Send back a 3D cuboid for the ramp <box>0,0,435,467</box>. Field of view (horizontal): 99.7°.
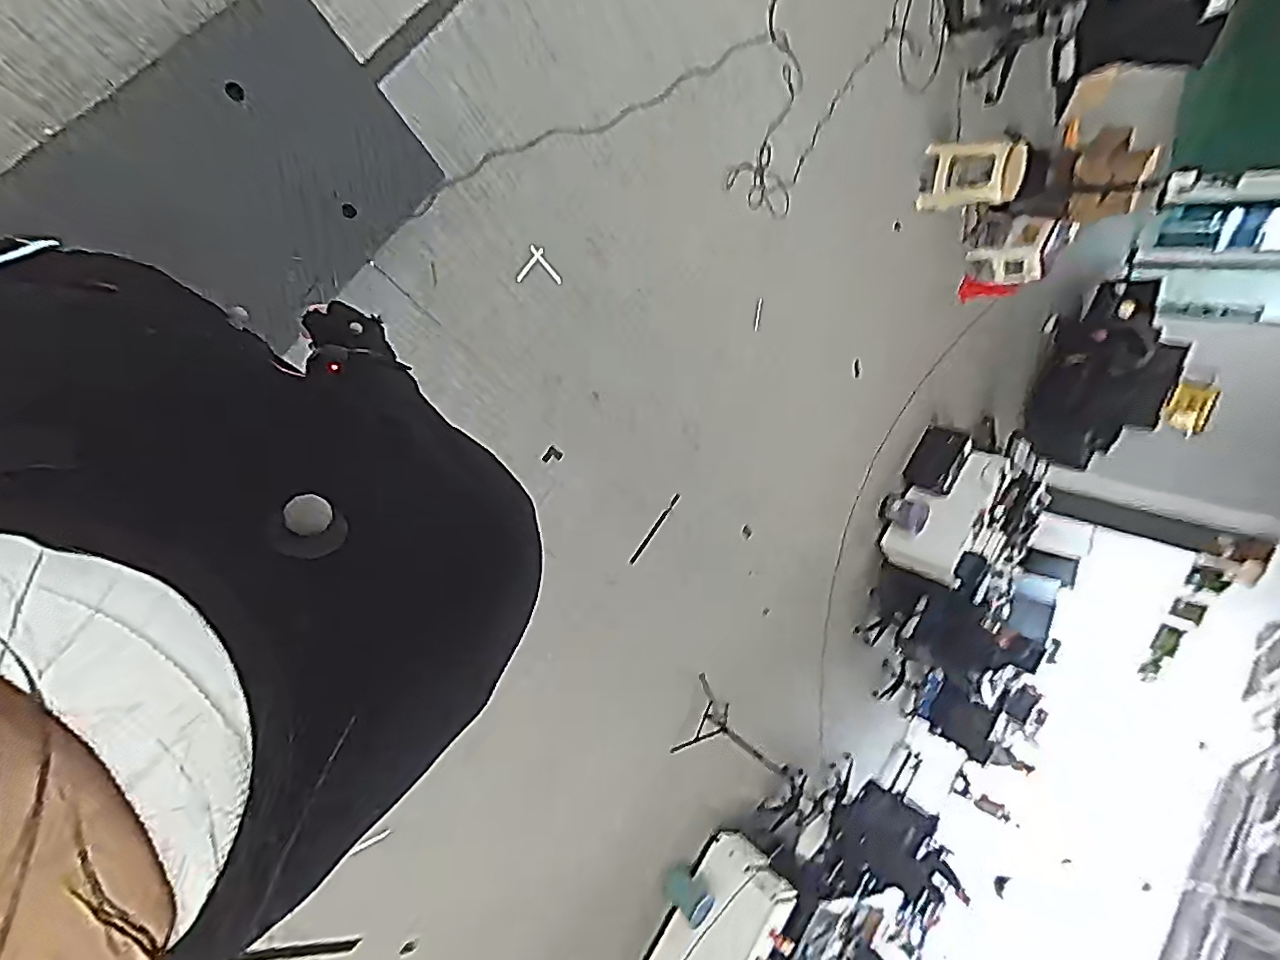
[{"bbox_3d":[-0.896,-0.566,1.153,0.991,0.206,0.509,-56,135,-12],"label":"ramp"}]
